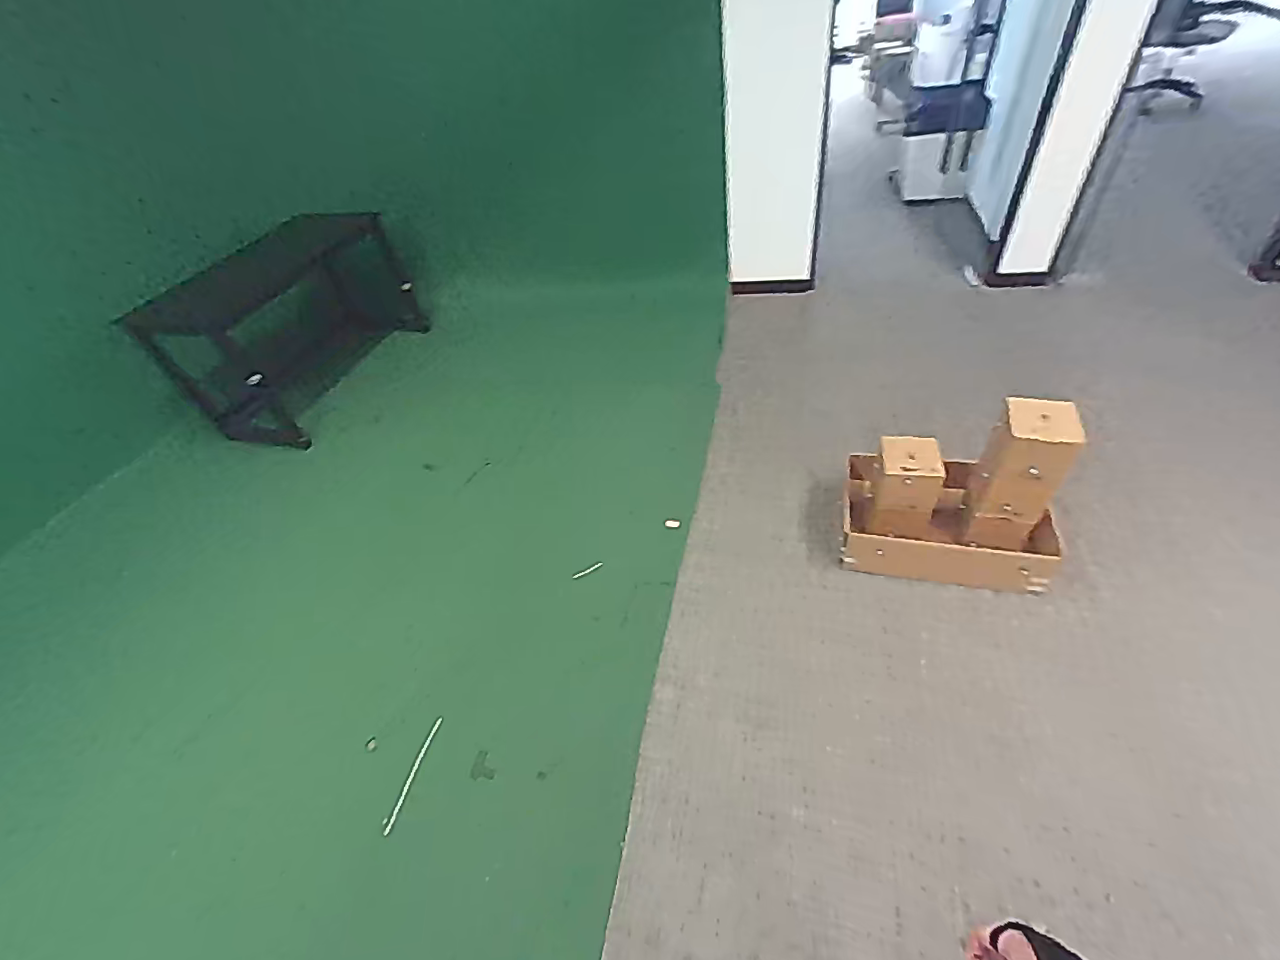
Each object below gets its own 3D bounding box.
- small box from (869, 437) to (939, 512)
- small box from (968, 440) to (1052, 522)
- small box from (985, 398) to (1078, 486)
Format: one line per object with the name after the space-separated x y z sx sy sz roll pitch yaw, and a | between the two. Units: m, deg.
0.844 -0.018 1.746 0.168 0.176 0.179 3 46 14 | small box
1.135 0.002 1.675 0.168 0.176 0.179 9 50 17 | small box
1.113 -0.110 1.555 0.168 0.176 0.179 9 50 18 | small box
